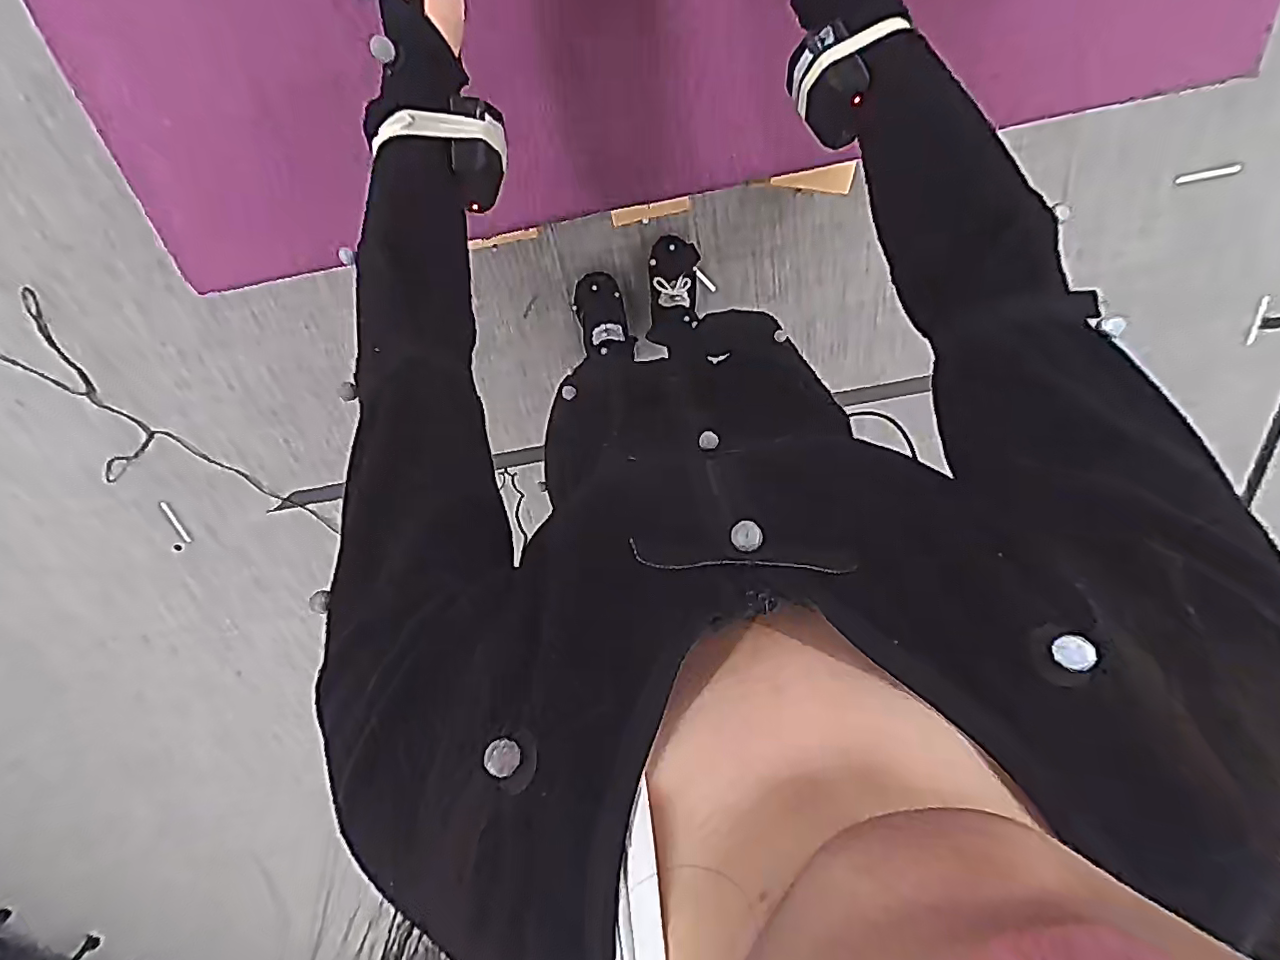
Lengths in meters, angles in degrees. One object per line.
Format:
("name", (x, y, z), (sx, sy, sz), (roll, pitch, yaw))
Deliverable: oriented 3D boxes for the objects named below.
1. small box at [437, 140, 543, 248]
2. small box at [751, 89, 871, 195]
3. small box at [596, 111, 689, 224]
("small box", (-0.311, -0.606, 1.158), (0.168, 0.176, 0.179), (-9, 118, 0))
("small box", (0.354, -0.715, 1.155), (0.179, 0.176, 0.168), (4, 118, -6))
("small box", (0.001, -0.660, 1.154), (0.168, 0.176, 0.179), (-11, 120, 2))
